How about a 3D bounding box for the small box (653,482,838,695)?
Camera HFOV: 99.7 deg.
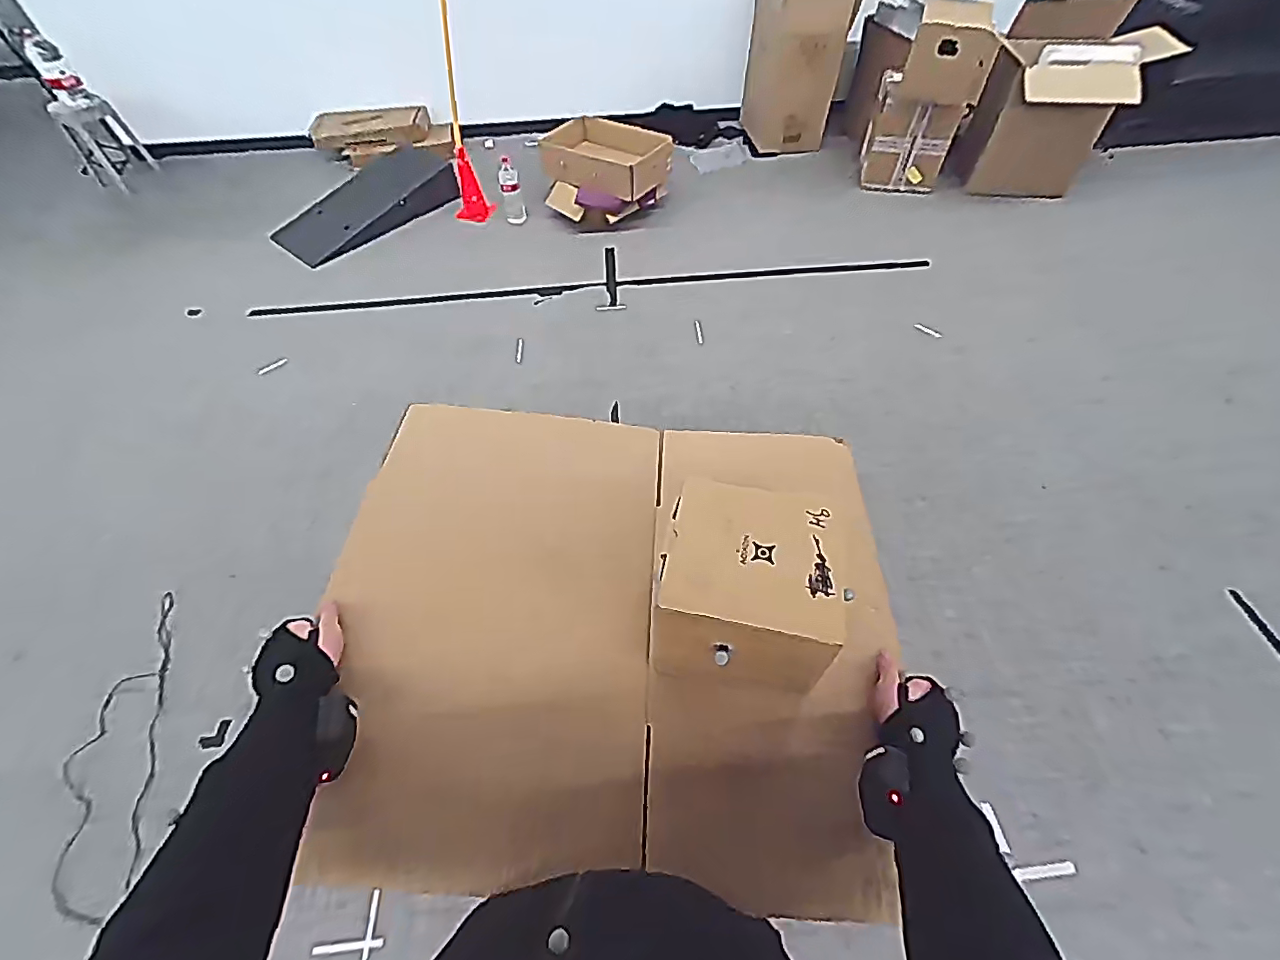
[{"bbox_3d":[0.117,0.126,0.615,0.179,0.176,0.168,9,52,10],"label":"small box"}]
